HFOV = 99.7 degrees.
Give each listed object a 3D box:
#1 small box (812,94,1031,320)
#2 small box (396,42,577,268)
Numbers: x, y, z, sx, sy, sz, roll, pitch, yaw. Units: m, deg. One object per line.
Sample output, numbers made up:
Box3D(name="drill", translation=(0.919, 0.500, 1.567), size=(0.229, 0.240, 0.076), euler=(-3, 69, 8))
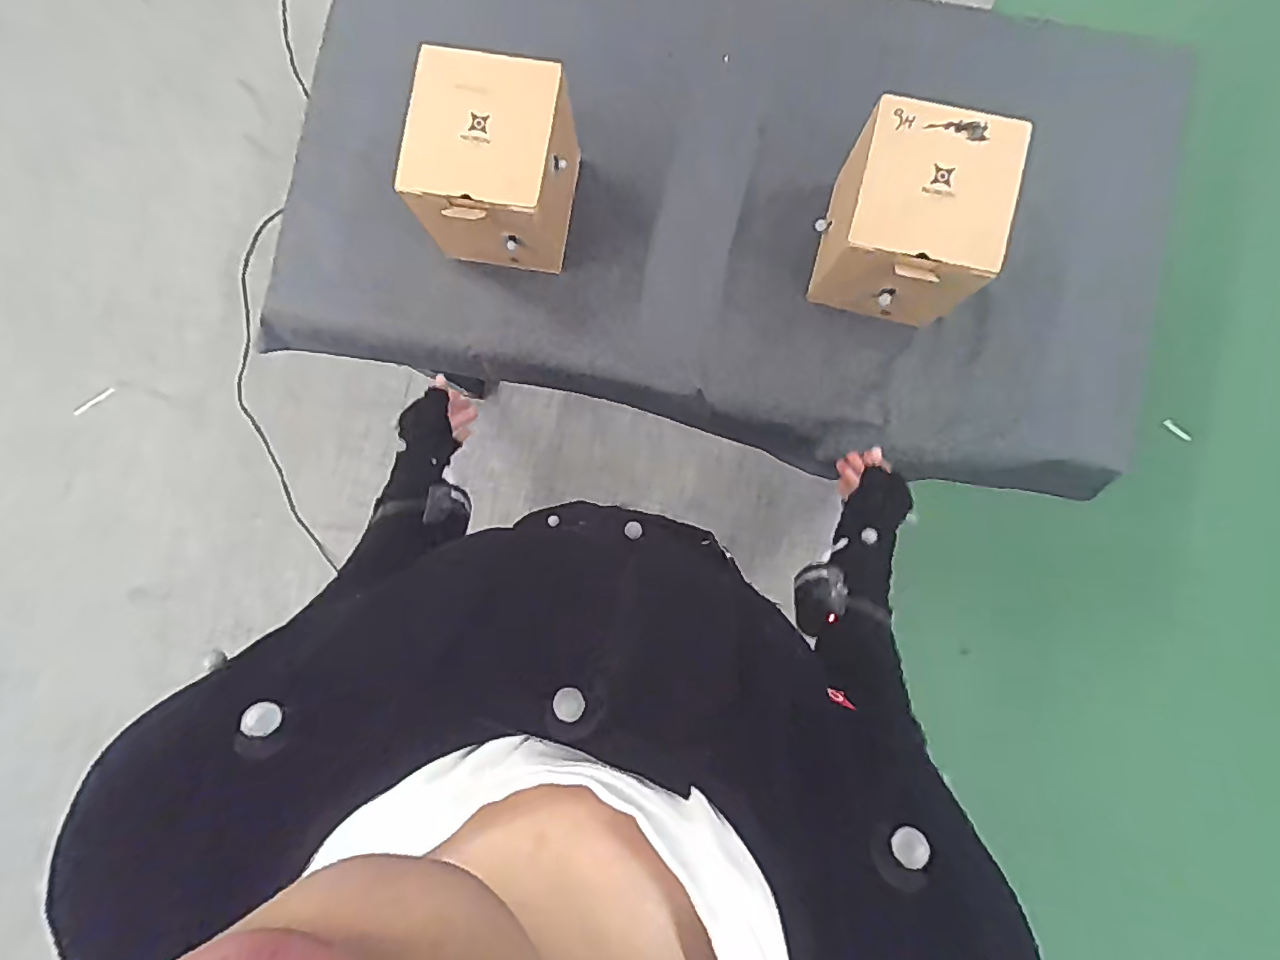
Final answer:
Box3D(name="small box", translation=(0.326, -0.317, 0.665), size=(0.168, 0.176, 0.179), euler=(14, 89, 3))
Box3D(name="small box", translation=(-0.180, -0.394, 0.686), size=(0.168, 0.176, 0.179), euler=(9, 86, 1))
